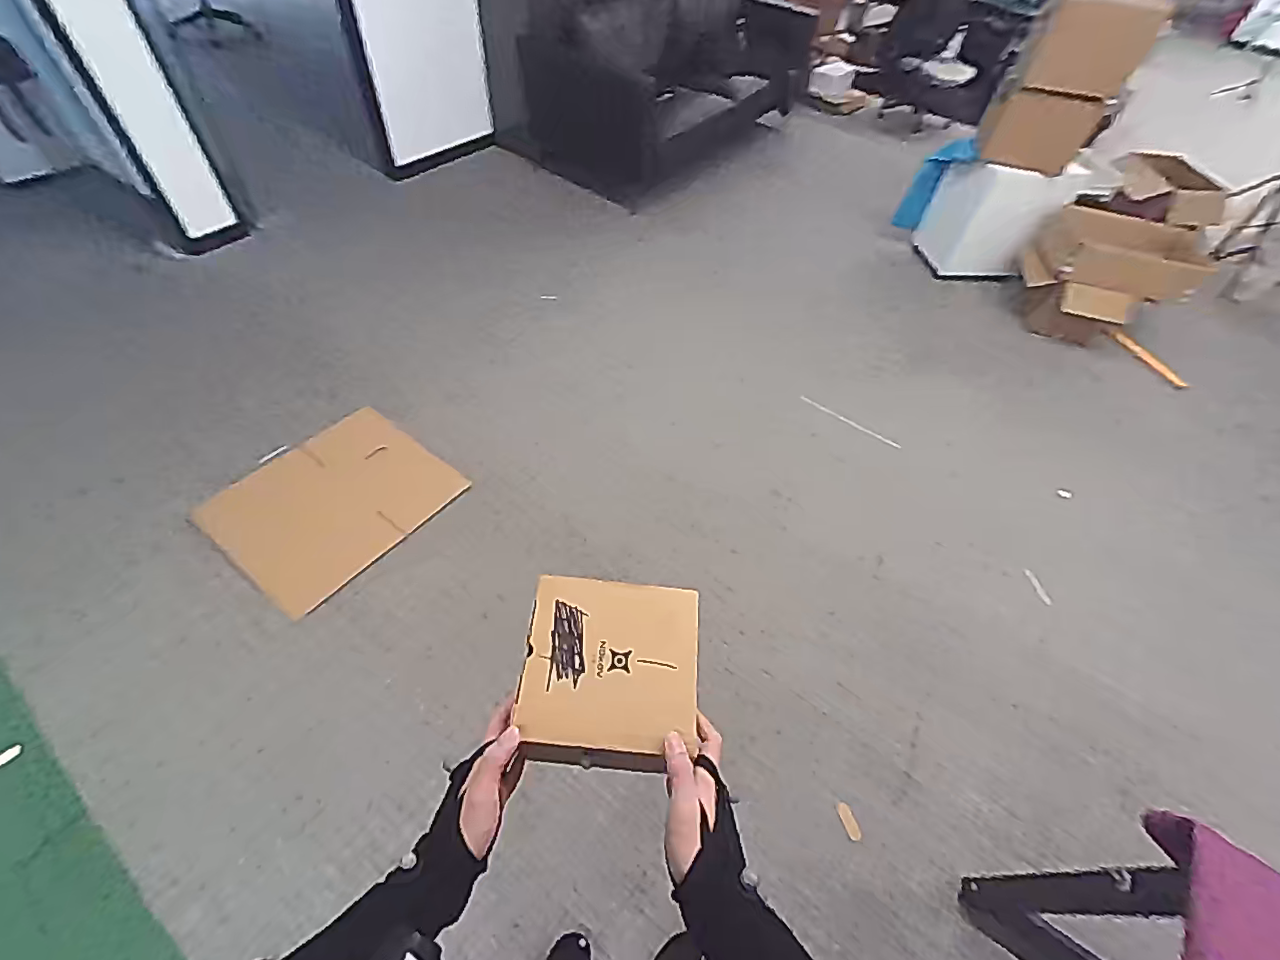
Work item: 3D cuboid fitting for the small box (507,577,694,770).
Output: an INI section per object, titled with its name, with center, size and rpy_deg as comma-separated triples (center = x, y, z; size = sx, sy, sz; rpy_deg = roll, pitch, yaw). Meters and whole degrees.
[small box]
center = -0.038, 0.225, 0.614
size = 0.179, 0.176, 0.168
rpy_deg = 6, 56, -2
